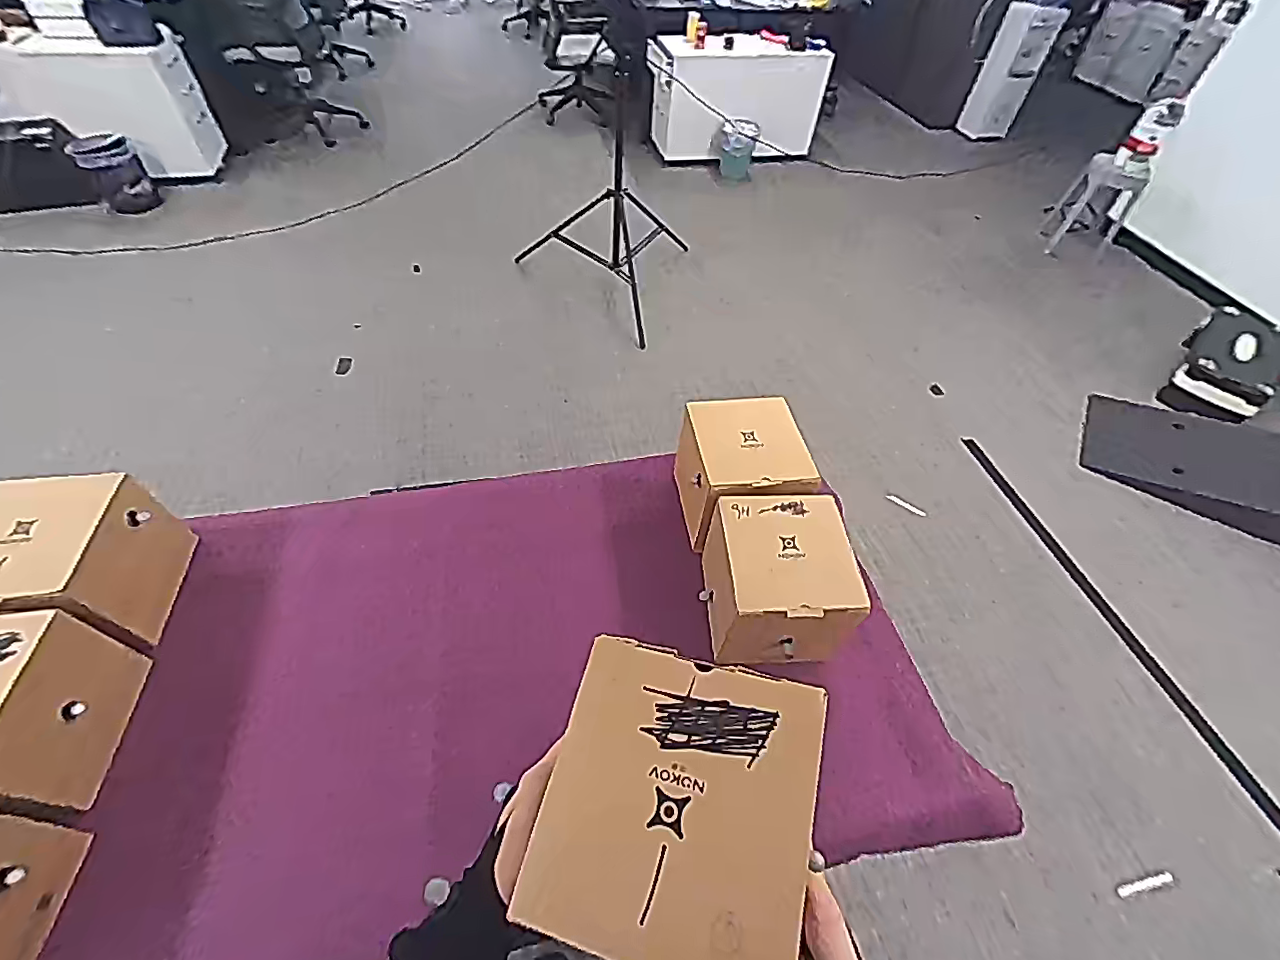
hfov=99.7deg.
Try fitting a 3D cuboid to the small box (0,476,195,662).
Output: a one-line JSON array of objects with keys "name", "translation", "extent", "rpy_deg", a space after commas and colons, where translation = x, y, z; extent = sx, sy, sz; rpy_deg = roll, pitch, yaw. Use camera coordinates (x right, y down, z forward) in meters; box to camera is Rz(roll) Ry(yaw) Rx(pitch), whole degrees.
[{"name": "small box", "translation": [-0.736, 0.117, 0.707], "extent": [0.168, 0.176, 0.179], "rpy_deg": [-5, 53, -8]}]

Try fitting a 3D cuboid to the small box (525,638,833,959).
[{"name": "small box", "translation": [0.042, 0.245, 0.408], "extent": [0.168, 0.176, 0.179], "rpy_deg": [8, 59, 17]}]

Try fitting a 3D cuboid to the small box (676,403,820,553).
[{"name": "small box", "translation": [0.159, -0.003, 0.873], "extent": [0.168, 0.176, 0.179], "rpy_deg": [-4, 51, -8]}]
